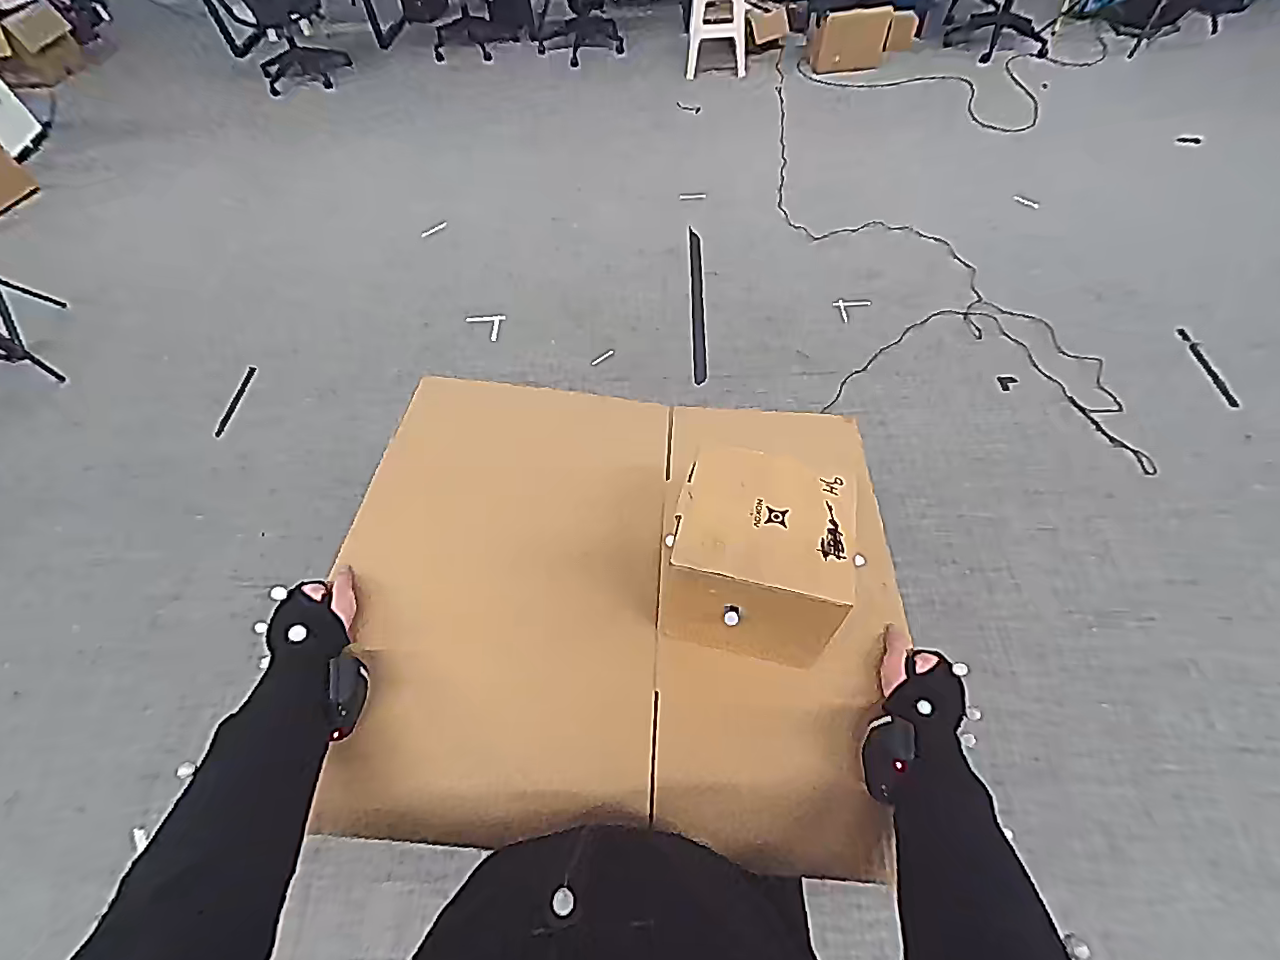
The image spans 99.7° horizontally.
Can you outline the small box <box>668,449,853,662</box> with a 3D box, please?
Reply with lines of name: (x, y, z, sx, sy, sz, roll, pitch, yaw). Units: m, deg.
small box: (0.133, 0.090, 0.623, 0.179, 0.176, 0.168, 10, 53, 10)
